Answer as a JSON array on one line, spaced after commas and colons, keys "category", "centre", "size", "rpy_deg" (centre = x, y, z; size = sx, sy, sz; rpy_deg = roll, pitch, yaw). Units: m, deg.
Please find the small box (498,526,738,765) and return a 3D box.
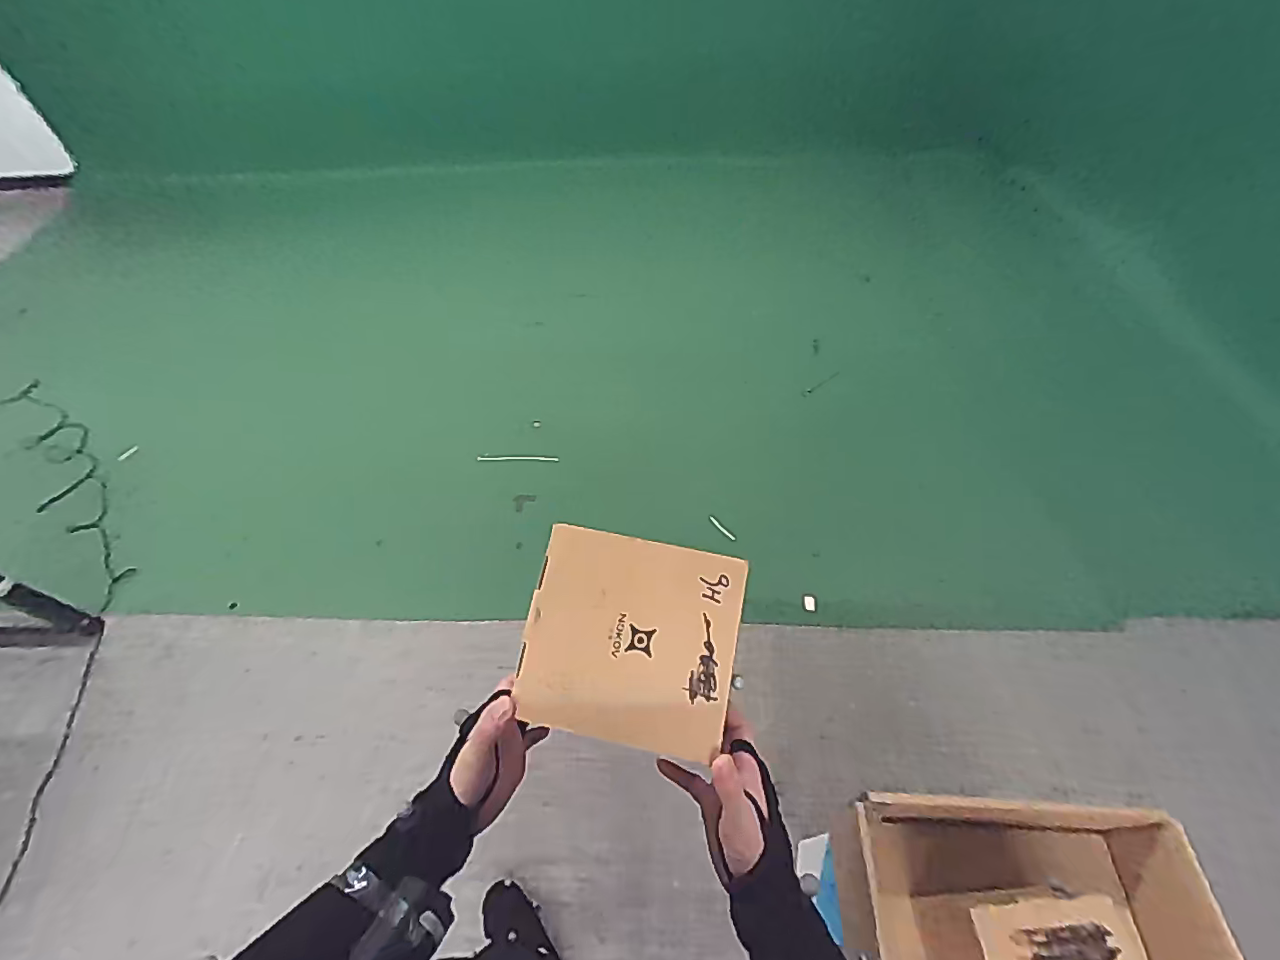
[{"category": "small box", "centre": [-0.011, 0.154, 0.527], "size": [0.179, 0.176, 0.168], "rpy_deg": [10, 75, 6]}]
